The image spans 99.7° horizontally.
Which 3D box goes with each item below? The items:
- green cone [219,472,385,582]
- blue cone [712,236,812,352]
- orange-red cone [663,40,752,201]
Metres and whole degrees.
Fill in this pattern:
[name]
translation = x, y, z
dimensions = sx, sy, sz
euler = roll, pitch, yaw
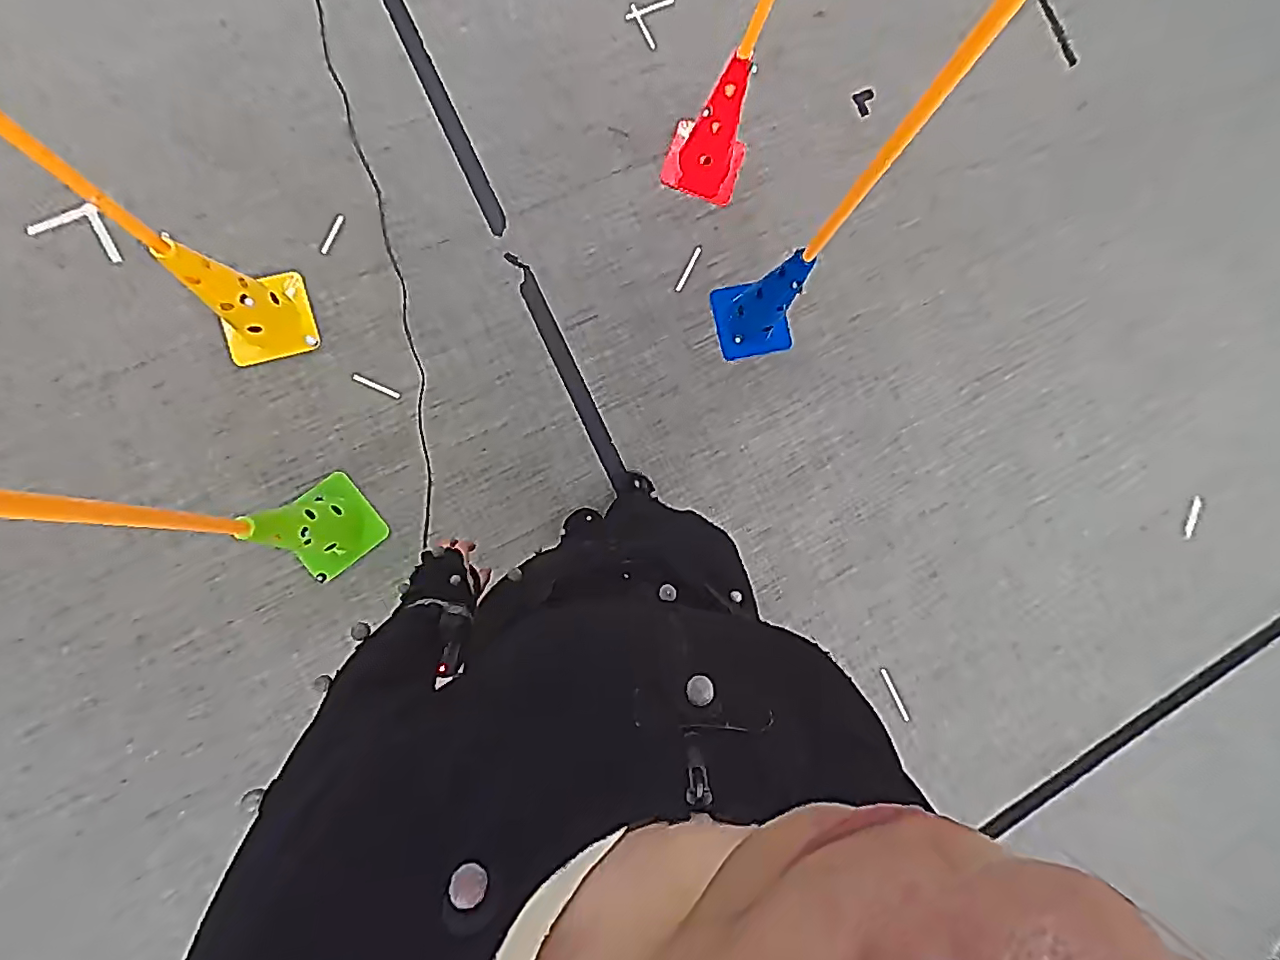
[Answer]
[green cone]
translation = -0.709, 0.092, 1.093
dimensions = 0.200, 0.368, 0.202
euler = -40, 90, -9
[blue cone]
translation = 0.318, -0.458, 1.292
dimensions = 0.193, 0.380, 0.192
euler = -11, 86, -8
[orange-red cone]
translation = 0.198, -0.885, 1.298
dimensions = 0.198, 0.360, 0.199
euler = 20, 84, -5
